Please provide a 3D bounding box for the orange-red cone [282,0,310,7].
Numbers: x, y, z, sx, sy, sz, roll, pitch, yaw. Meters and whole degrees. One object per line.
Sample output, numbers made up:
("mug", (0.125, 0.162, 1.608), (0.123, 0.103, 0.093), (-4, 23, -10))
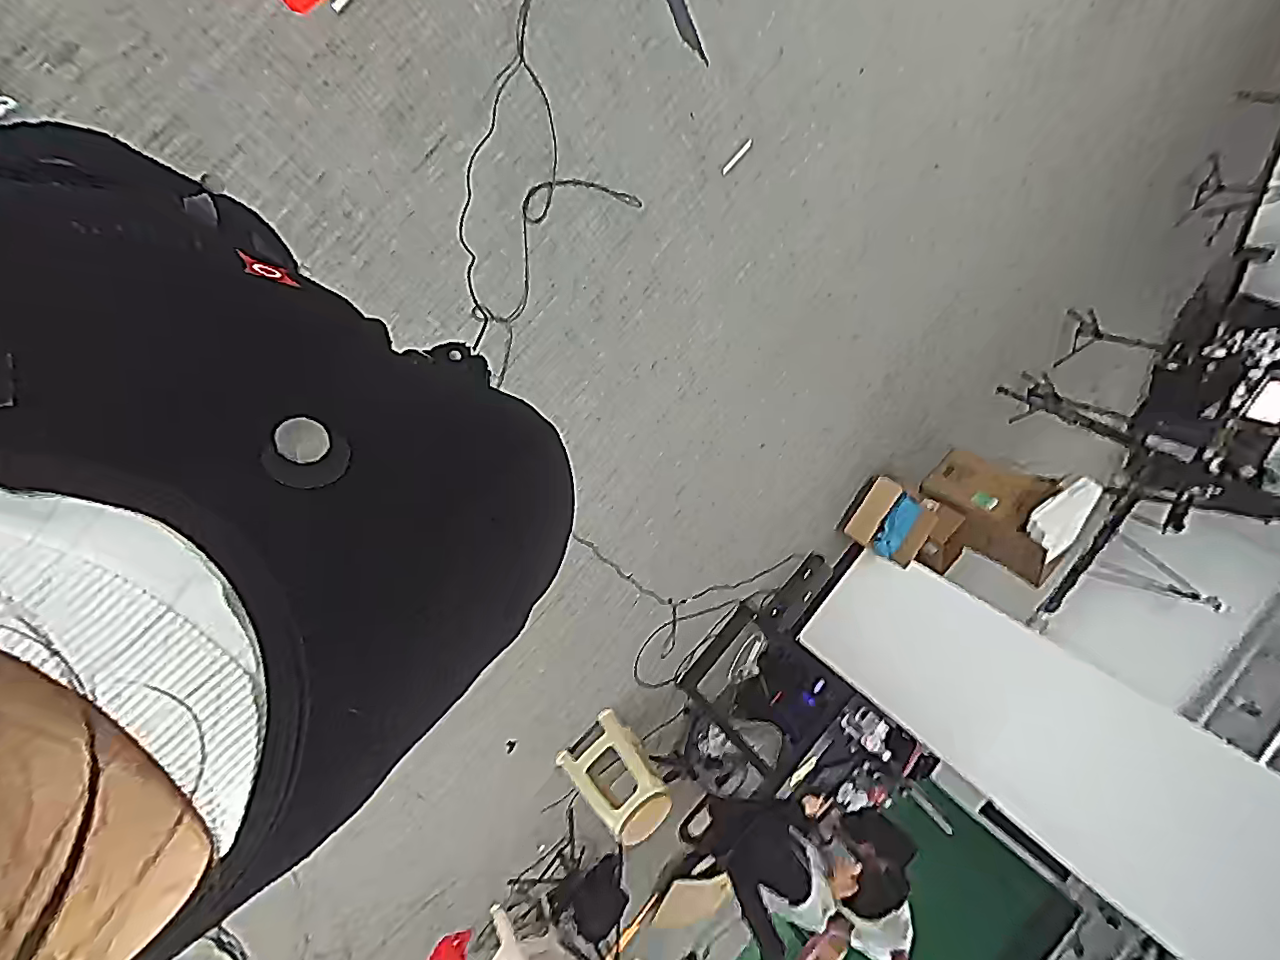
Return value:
("orange-red cone", (-0.511, -0.904, 0.816), (0.198, 0.360, 0.199), (-45, 135, -10))
